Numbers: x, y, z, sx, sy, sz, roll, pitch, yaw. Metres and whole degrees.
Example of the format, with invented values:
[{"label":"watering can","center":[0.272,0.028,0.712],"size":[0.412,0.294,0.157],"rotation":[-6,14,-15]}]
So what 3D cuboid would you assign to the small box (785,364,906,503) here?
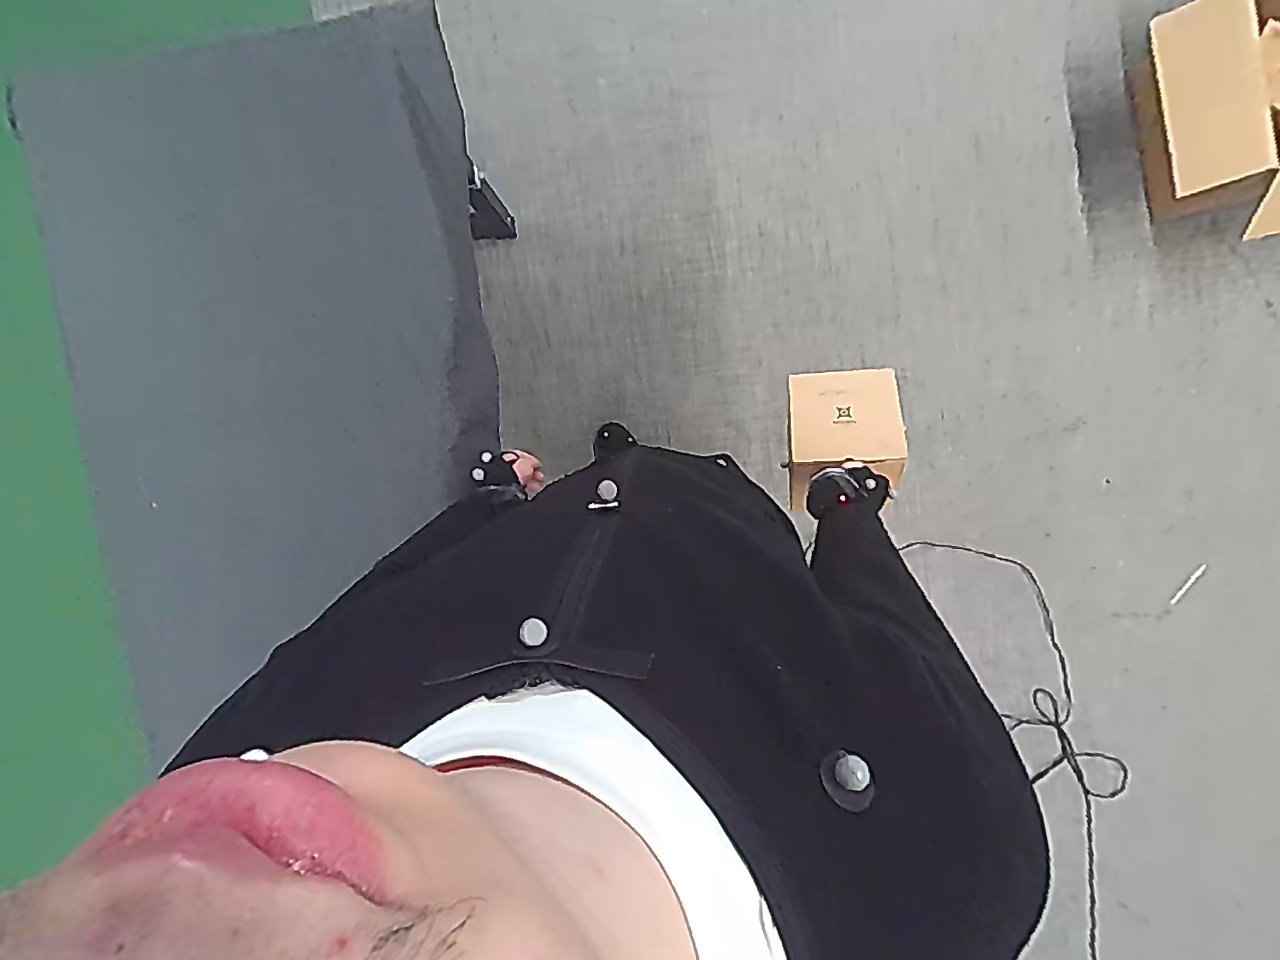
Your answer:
[{"label":"small box","center":[0.334,-0.070,0.912],"size":[0.168,0.176,0.179],"rotation":[-2,60,12]}]
